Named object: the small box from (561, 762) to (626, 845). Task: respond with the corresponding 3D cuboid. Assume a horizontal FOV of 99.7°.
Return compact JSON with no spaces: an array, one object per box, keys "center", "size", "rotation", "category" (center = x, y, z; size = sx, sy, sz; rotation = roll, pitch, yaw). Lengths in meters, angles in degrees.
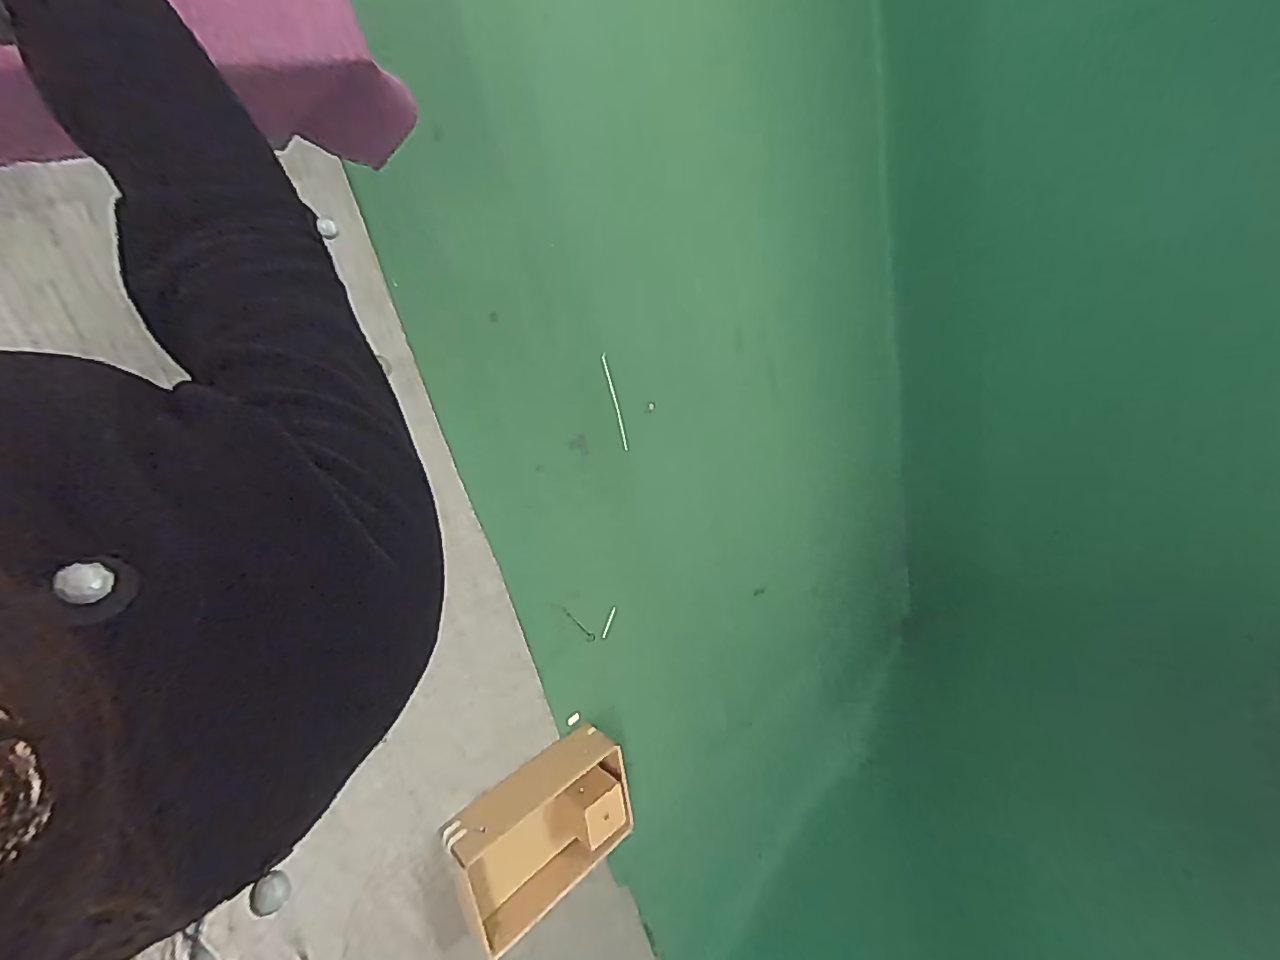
[{"center":[-0.174,1.170,1.980],"size":[0.168,0.176,0.179],"rotation":[-19,109,-39],"category":"small box"}]
